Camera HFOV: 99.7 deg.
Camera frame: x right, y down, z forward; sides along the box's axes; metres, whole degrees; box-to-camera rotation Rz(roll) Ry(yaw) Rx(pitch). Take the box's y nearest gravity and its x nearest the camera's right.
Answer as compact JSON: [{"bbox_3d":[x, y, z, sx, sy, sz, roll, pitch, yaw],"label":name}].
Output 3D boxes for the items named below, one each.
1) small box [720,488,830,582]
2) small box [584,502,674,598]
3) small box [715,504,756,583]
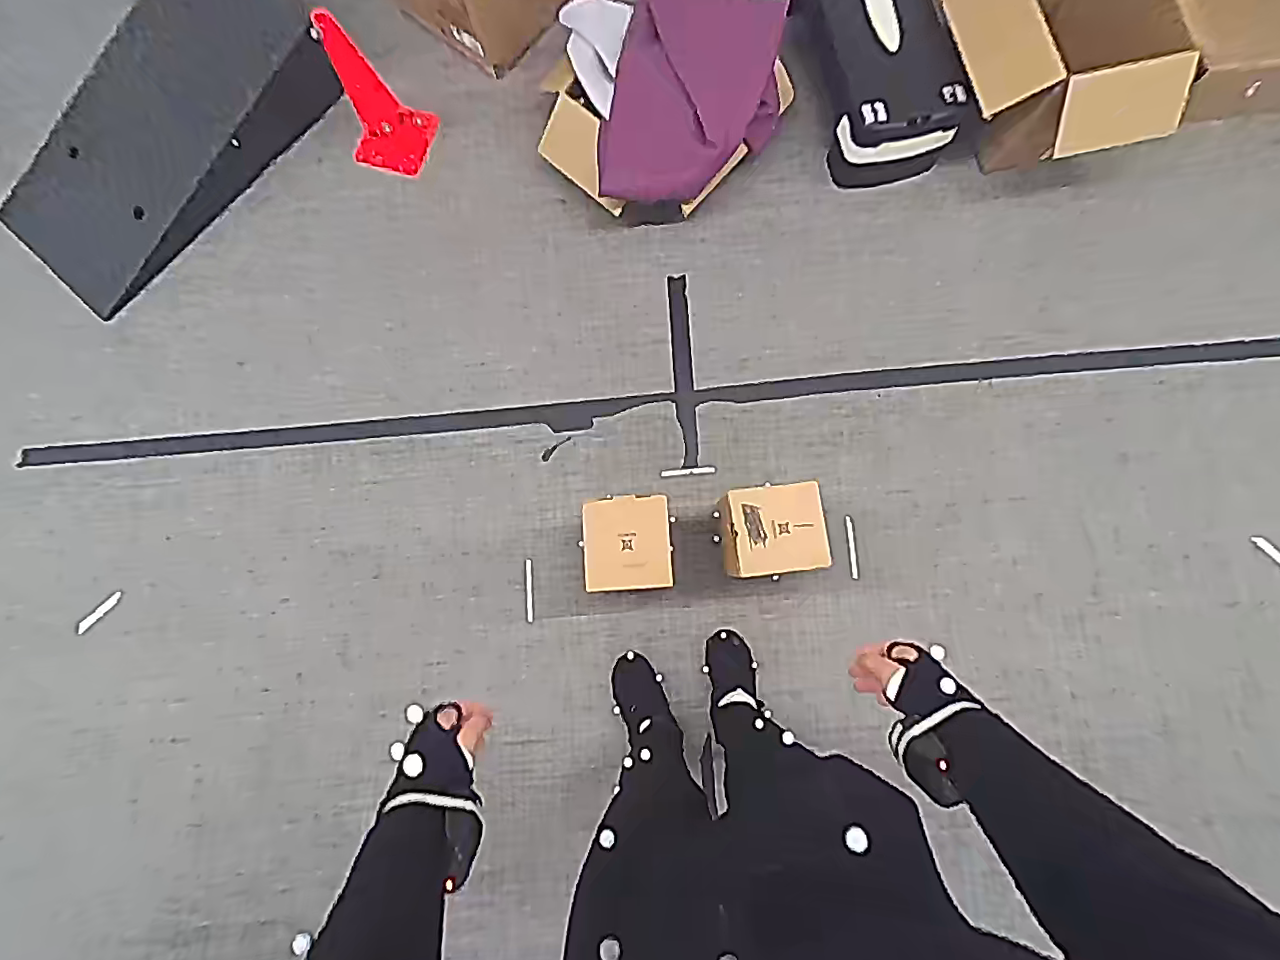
[{"bbox_3d":[0.263,0.118,1.103,0.179,0.176,0.168,-7,81,-1],"label":"small box"},{"bbox_3d":[-0.020,0.145,1.107,0.168,0.176,0.179,-4,82,2],"label":"small box"},{"bbox_3d":[0.274,0.140,1.268,0.168,0.176,0.179,-7,81,0],"label":"small box"}]
